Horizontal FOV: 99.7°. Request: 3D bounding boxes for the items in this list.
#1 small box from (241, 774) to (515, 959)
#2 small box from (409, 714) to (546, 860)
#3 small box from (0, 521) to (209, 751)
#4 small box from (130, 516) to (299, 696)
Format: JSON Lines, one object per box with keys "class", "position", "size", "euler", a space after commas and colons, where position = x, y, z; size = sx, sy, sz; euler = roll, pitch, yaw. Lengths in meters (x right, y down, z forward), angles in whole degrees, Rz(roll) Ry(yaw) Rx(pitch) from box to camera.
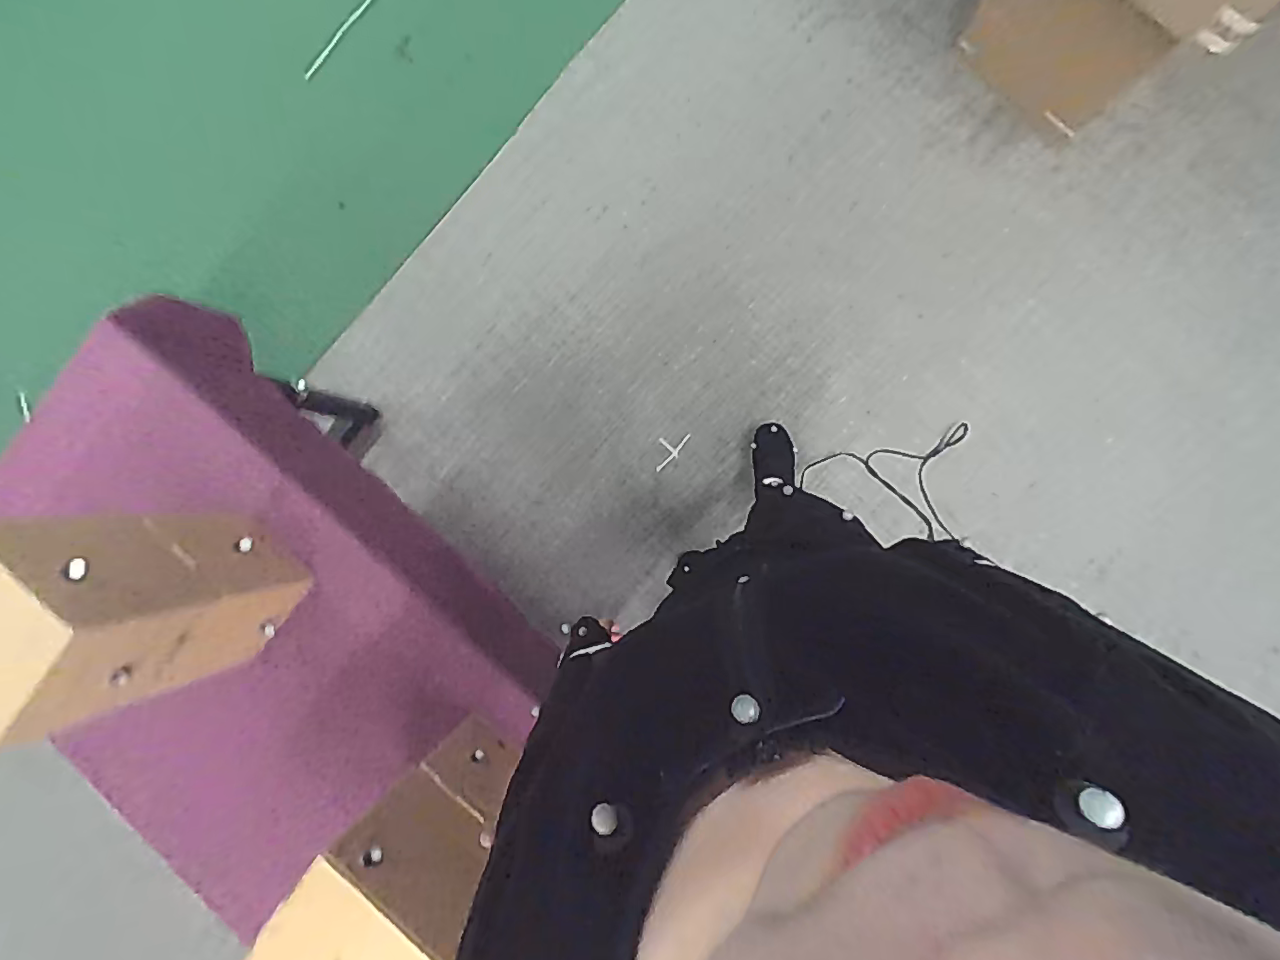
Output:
{"class": "small box", "position": [-0.262, 0.456, 0.568], "size": [0.179, 0.176, 0.168], "euler": [36, 92, 7]}
{"class": "small box", "position": [-0.247, 0.457, 0.730], "size": [0.168, 0.176, 0.179], "euler": [38, 93, 6]}
{"class": "small box", "position": [-0.655, 0.158, 0.612], "size": [0.179, 0.176, 0.168], "euler": [39, 93, 5]}
{"class": "small box", "position": [-0.637, 0.164, 0.776], "size": [0.168, 0.176, 0.179], "euler": [39, 92, 6]}
